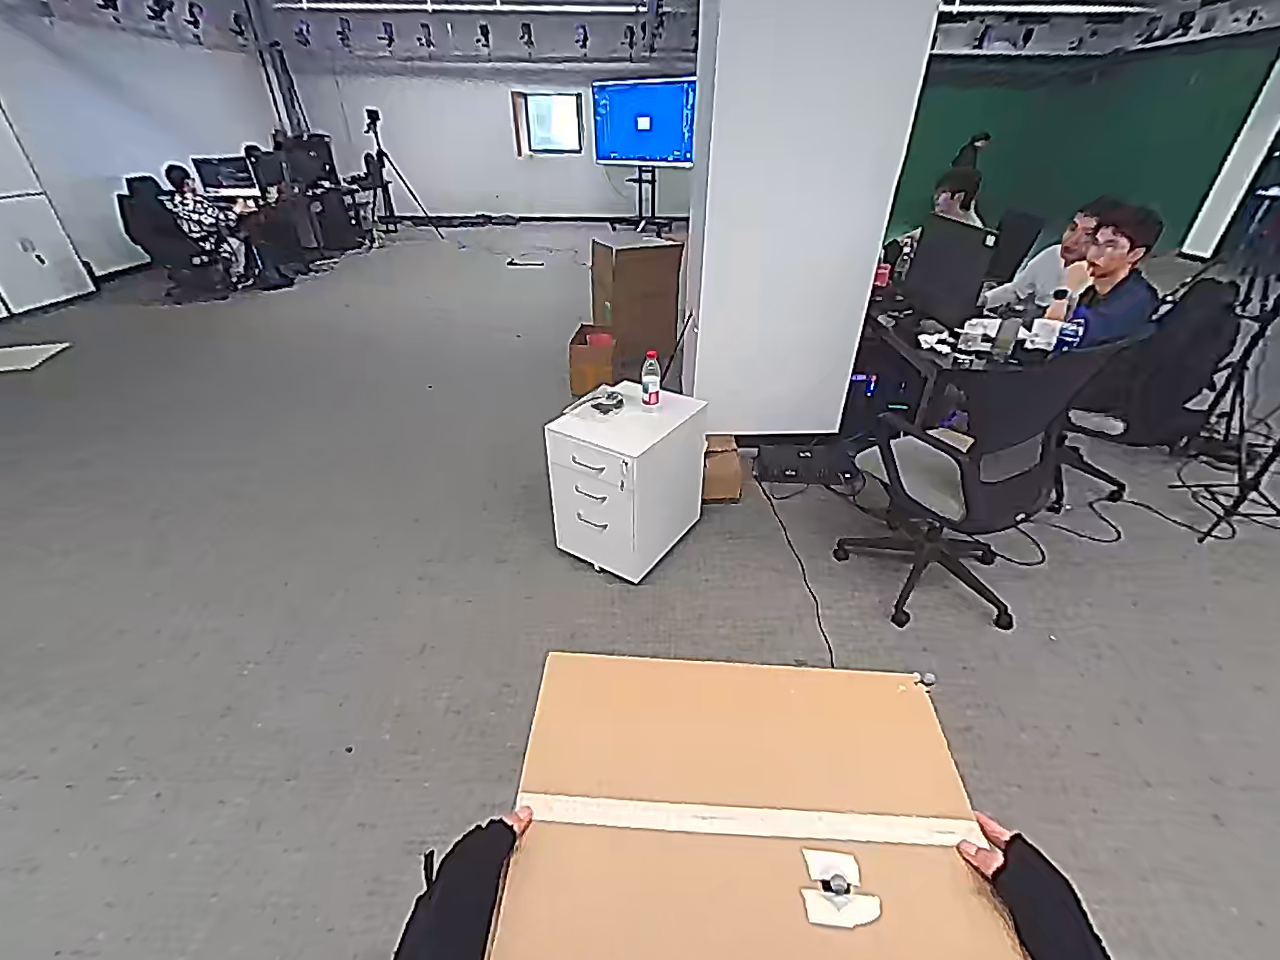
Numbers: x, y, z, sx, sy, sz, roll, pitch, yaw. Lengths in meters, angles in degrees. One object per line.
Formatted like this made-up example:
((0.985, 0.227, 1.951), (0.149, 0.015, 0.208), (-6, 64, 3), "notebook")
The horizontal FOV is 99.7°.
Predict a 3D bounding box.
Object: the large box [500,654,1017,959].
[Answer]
((0.092, 0.417, 0.582), (0.408, 0.320, 0.320), (3, 40, 2), "large box")
